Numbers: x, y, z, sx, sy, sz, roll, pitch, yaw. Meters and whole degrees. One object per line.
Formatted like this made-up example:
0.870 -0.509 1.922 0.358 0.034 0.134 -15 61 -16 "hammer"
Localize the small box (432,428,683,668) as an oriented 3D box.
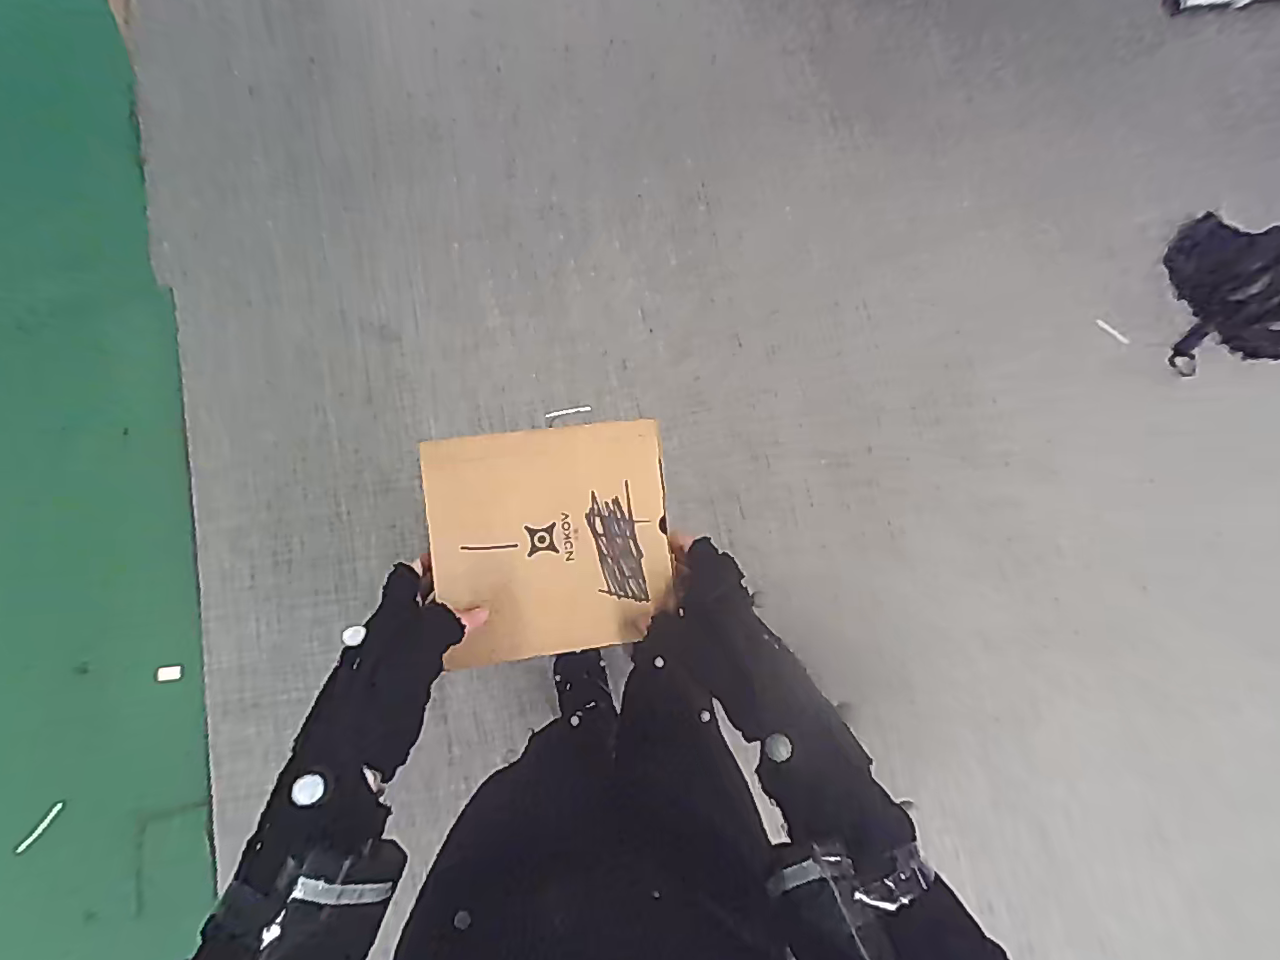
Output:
-0.071 0.051 0.485 0.179 0.176 0.168 -7 87 -7 "small box"
